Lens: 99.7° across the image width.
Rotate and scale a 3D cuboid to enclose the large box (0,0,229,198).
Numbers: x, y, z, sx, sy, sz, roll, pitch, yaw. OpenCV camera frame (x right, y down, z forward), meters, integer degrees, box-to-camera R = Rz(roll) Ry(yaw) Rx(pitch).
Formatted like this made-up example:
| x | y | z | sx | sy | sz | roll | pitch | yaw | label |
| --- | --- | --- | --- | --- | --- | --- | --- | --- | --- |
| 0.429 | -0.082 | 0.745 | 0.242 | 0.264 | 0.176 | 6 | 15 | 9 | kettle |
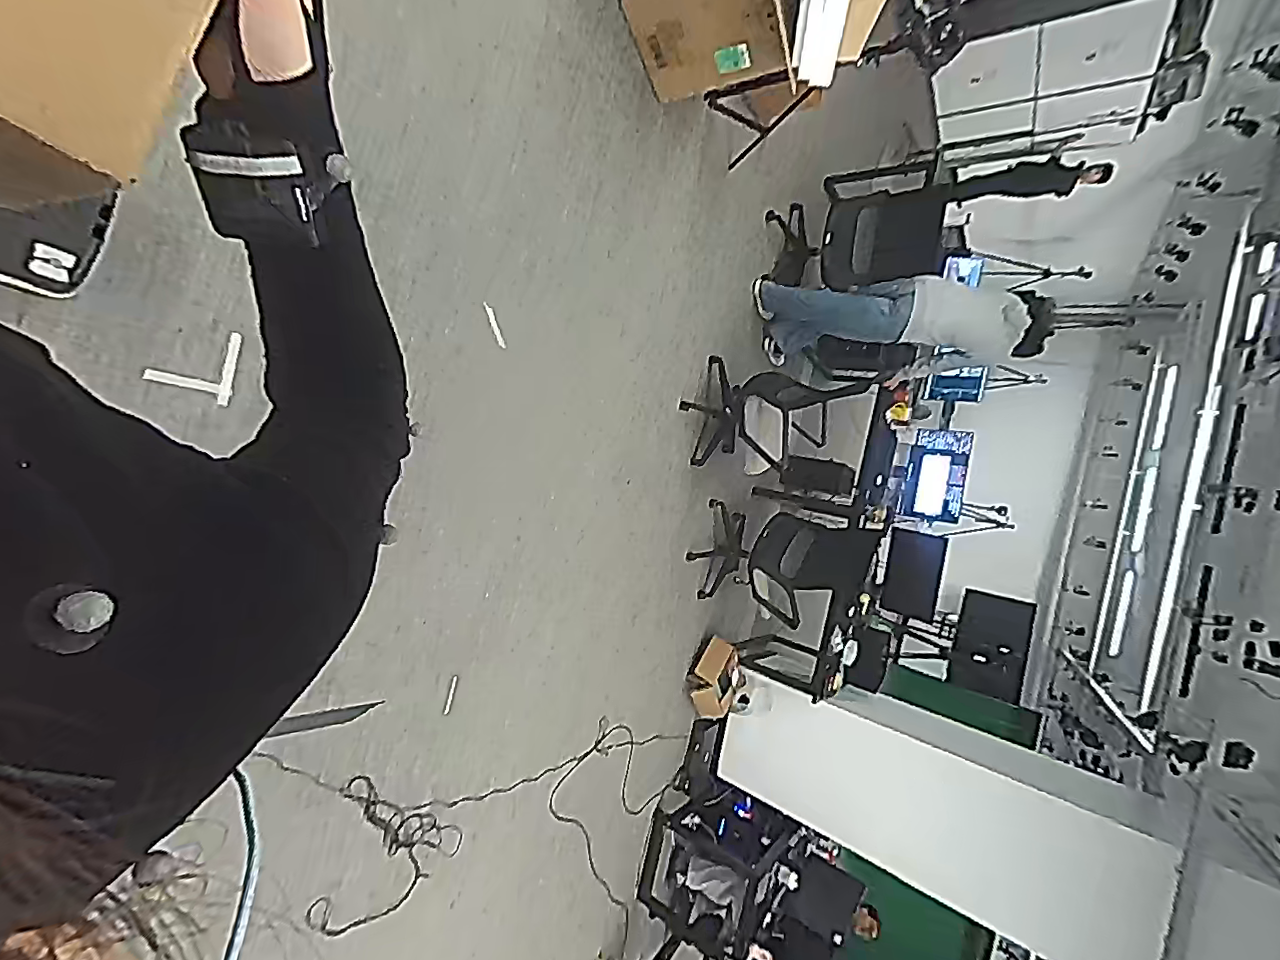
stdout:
| x | y | z | sx | sy | sz | roll | pitch | yaw | label |
| --- | --- | --- | --- | --- | --- | --- | --- | --- | --- |
| -0.410 | -0.367 | 0.192 | 0.408 | 0.320 | 0.320 | 28 | 80 | -57 | large box |
